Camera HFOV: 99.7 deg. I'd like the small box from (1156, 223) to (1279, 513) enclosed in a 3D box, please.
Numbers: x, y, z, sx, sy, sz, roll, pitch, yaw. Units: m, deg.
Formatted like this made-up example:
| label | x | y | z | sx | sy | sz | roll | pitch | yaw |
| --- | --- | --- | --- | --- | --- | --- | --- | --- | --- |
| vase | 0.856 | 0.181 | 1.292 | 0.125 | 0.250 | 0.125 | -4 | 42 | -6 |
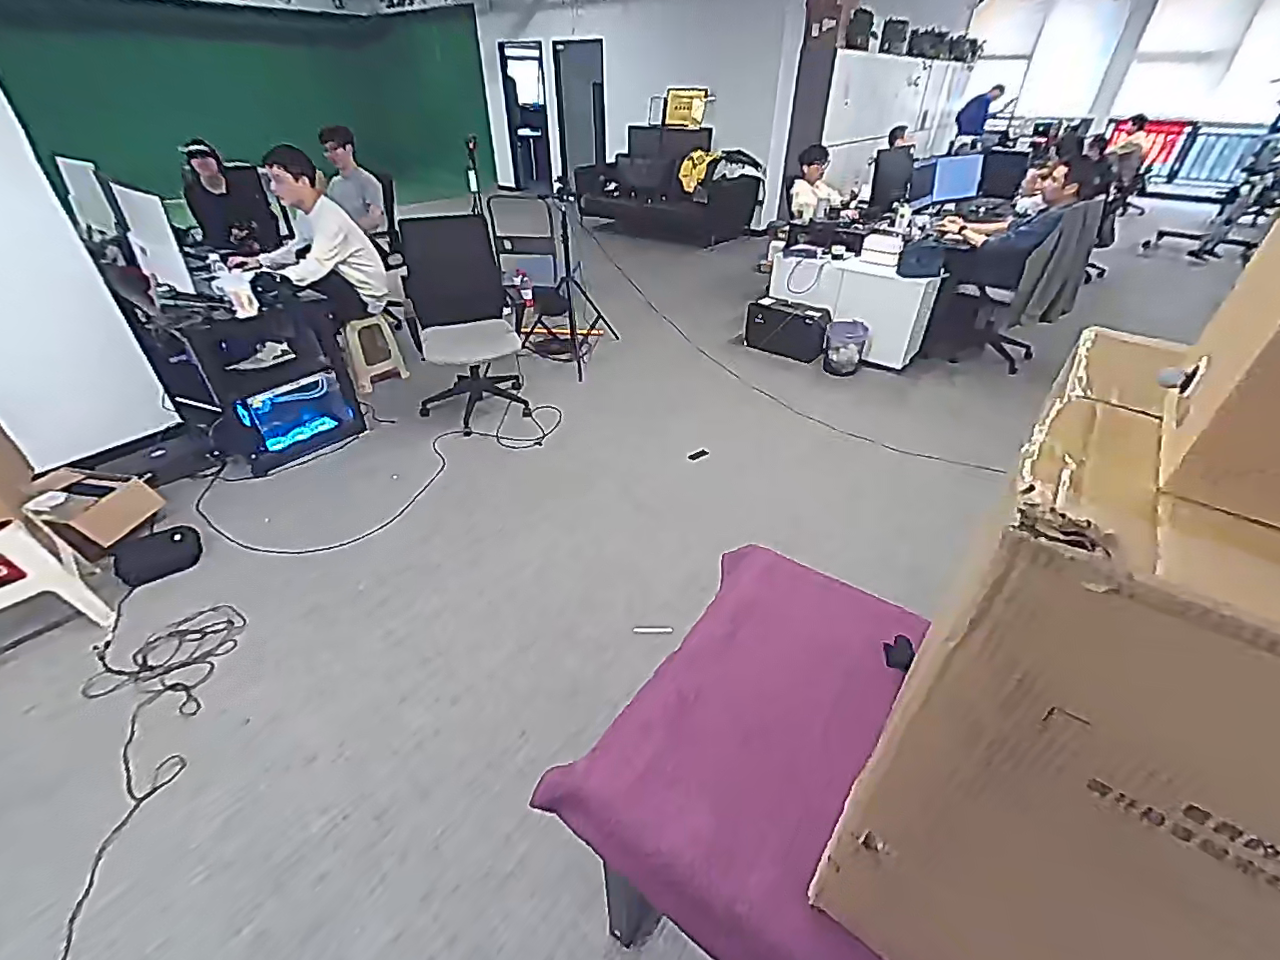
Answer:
| label | x | y | z | sx | sy | sz | roll | pitch | yaw |
| --- | --- | --- | --- | --- | --- | --- | --- | --- | --- |
| small box | 0.436 | -0.068 | 0.290 | 0.179 | 0.176 | 0.168 | 25 | 42 | 30 |
